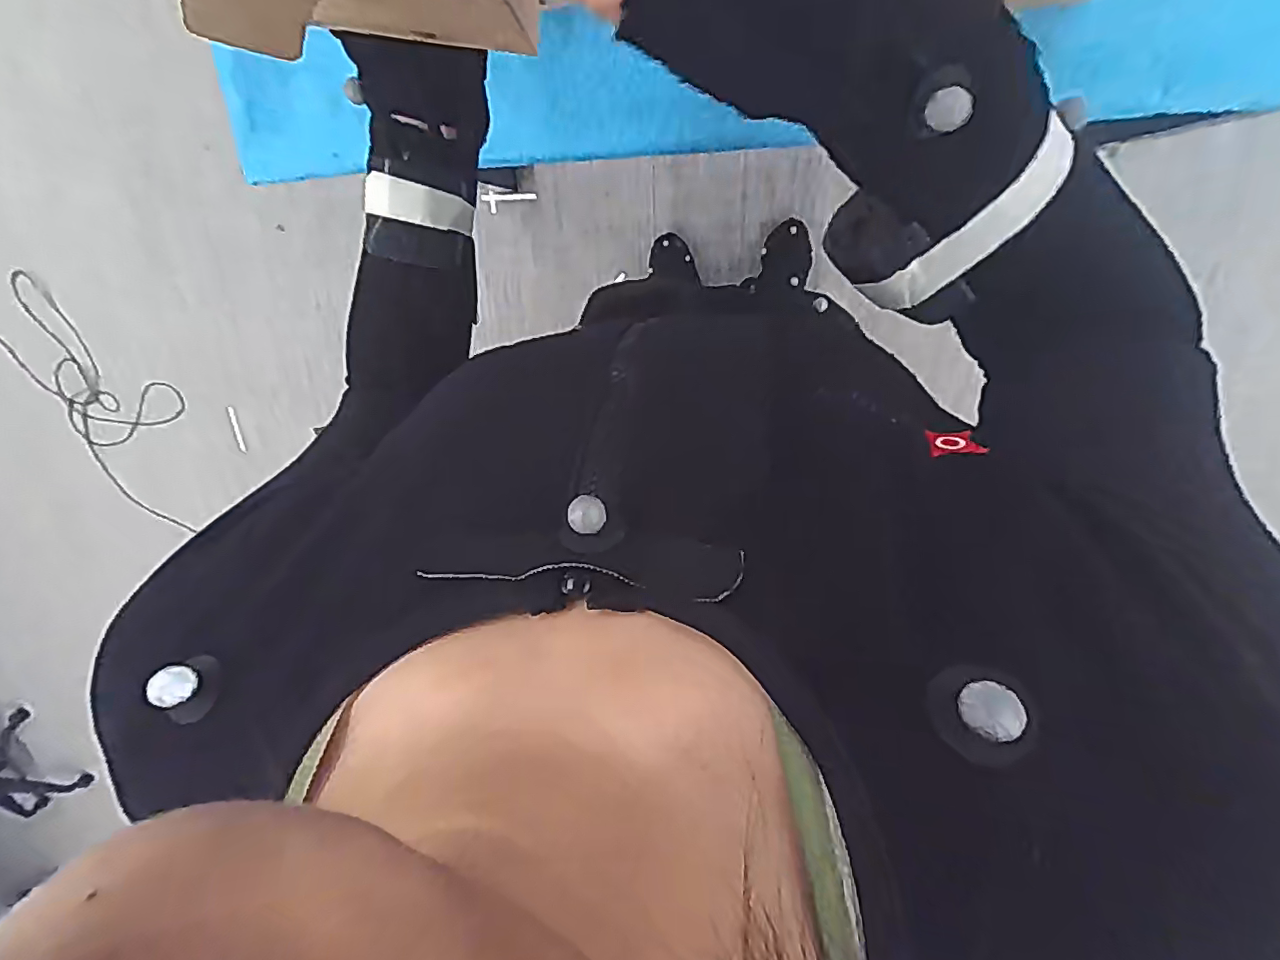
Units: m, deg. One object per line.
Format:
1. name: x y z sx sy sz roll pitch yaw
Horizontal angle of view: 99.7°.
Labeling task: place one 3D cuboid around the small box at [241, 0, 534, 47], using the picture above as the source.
1. small box: -0.132 -0.295 0.203 0.168 0.176 0.179 5 117 -4
